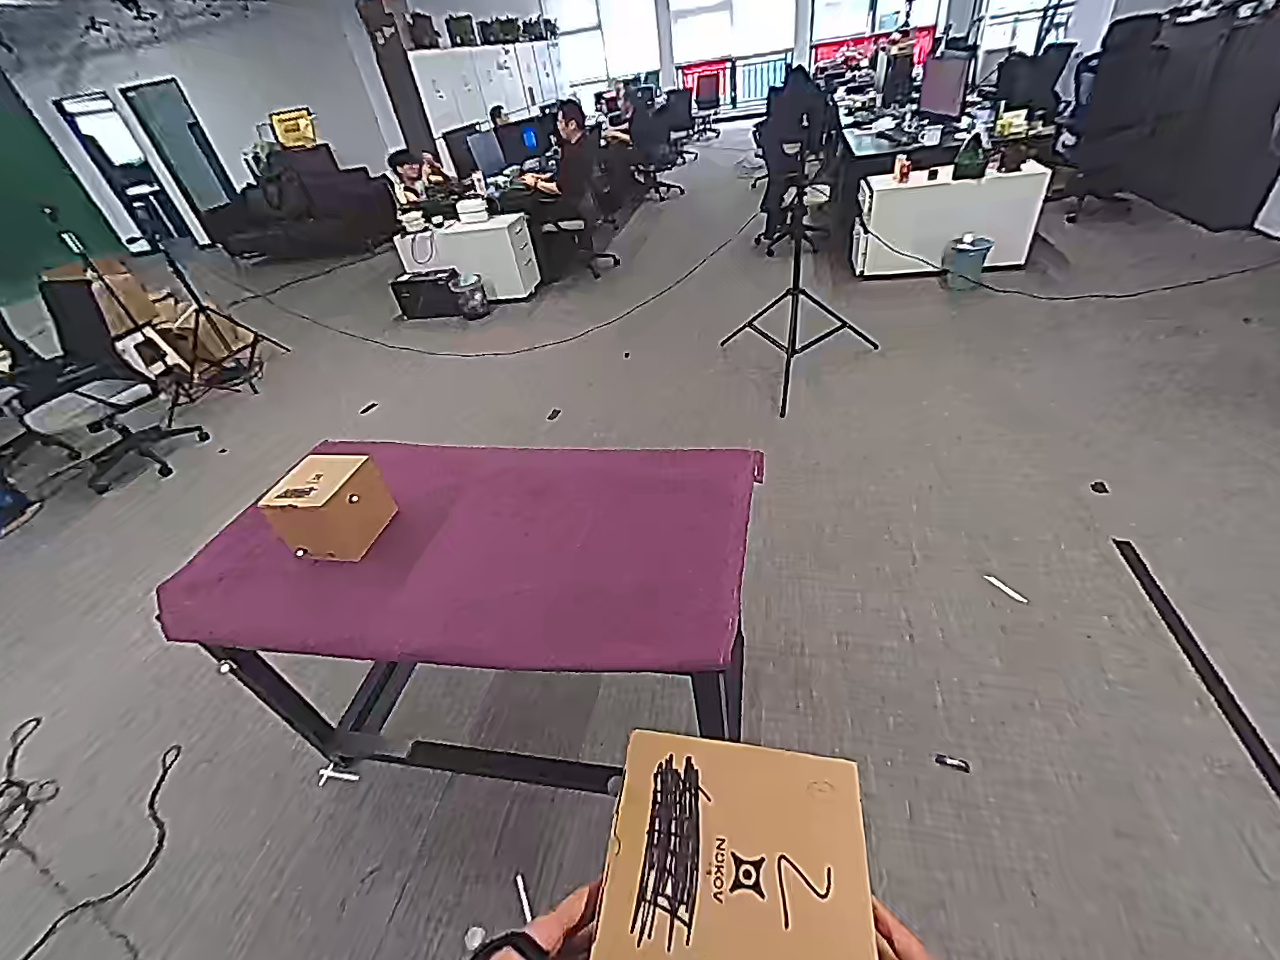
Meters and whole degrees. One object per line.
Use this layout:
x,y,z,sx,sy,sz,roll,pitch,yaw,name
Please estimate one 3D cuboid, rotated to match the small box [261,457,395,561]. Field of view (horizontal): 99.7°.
-0.694,0.066,1.230,0.168,0.176,0.179,1,39,13,small box
